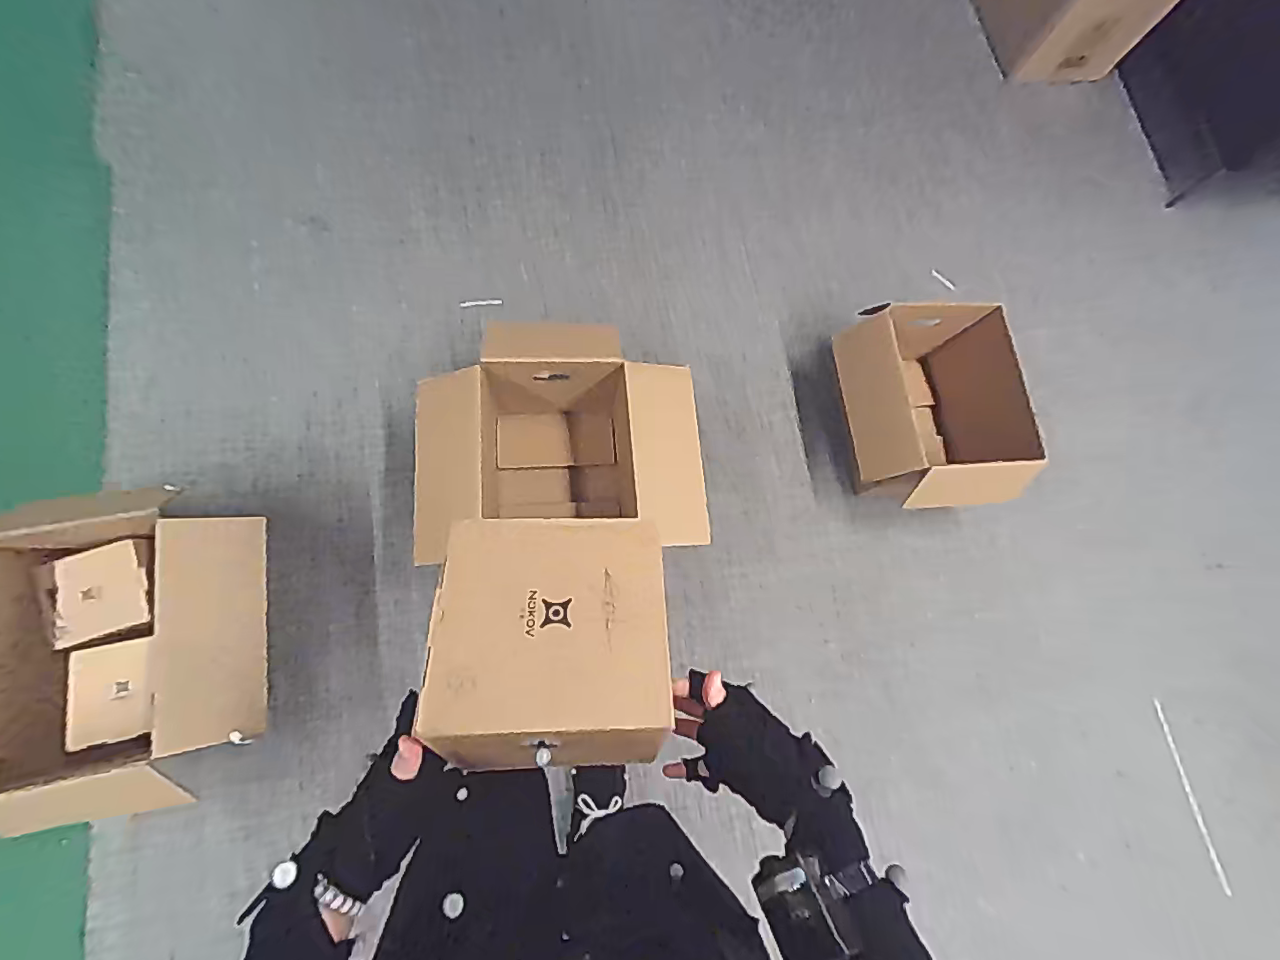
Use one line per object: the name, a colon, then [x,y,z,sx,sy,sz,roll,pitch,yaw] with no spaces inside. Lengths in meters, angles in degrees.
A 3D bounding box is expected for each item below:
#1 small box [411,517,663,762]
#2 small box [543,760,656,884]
small box: [-0.074,0.147,0.480,0.179,0.176,0.168,1,54,-3]
small box: [-0.089,0.700,1.150,0.168,0.176,0.179,31,45,29]
